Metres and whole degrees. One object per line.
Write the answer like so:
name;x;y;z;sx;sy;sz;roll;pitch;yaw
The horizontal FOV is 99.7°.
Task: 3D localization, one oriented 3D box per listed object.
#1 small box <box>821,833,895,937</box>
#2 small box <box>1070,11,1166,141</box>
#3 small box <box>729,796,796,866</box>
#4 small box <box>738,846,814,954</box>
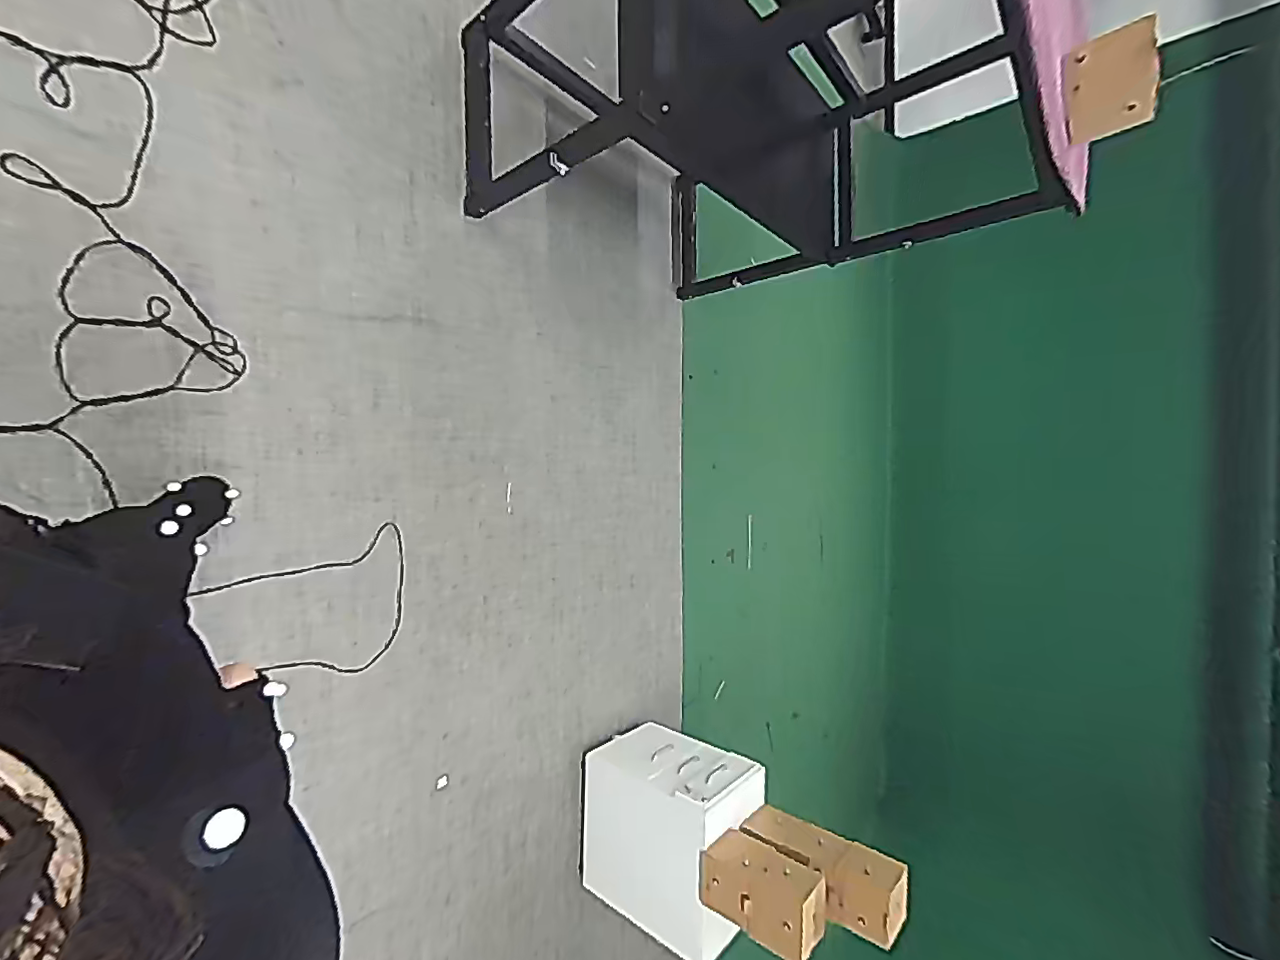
small box;0.683;1.260;1.696;0.179;0.176;0.168;2;92;-49
small box;1.176;-0.981;1.336;0.179;0.176;0.168;0;89;-49
small box;0.433;1.259;1.909;0.179;0.176;0.168;1;91;-48
small box;0.407;1.244;1.625;0.168;0.176;0.179;3;90;-49
